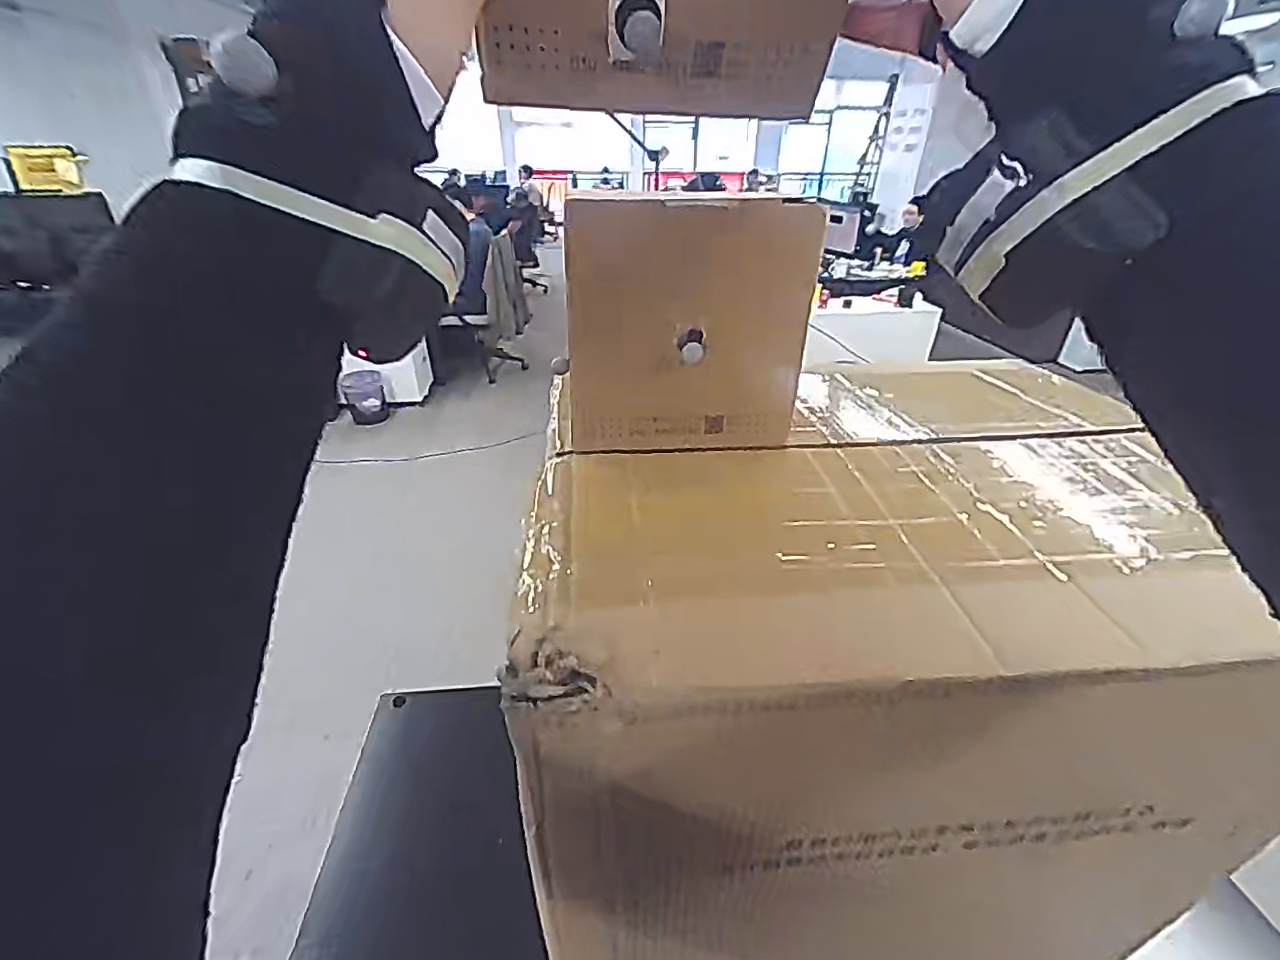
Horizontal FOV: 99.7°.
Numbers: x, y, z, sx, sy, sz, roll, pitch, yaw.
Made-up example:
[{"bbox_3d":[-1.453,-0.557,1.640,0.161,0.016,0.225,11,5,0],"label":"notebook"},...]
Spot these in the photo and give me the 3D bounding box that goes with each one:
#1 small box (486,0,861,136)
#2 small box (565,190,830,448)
[{"bbox_3d":[0.009,-0.289,0.246,0.168,0.176,0.179,-4,57,-8],"label":"small box"},{"bbox_3d":[0.029,-0.133,0.434,0.168,0.176,0.179,-2,30,-6],"label":"small box"}]
